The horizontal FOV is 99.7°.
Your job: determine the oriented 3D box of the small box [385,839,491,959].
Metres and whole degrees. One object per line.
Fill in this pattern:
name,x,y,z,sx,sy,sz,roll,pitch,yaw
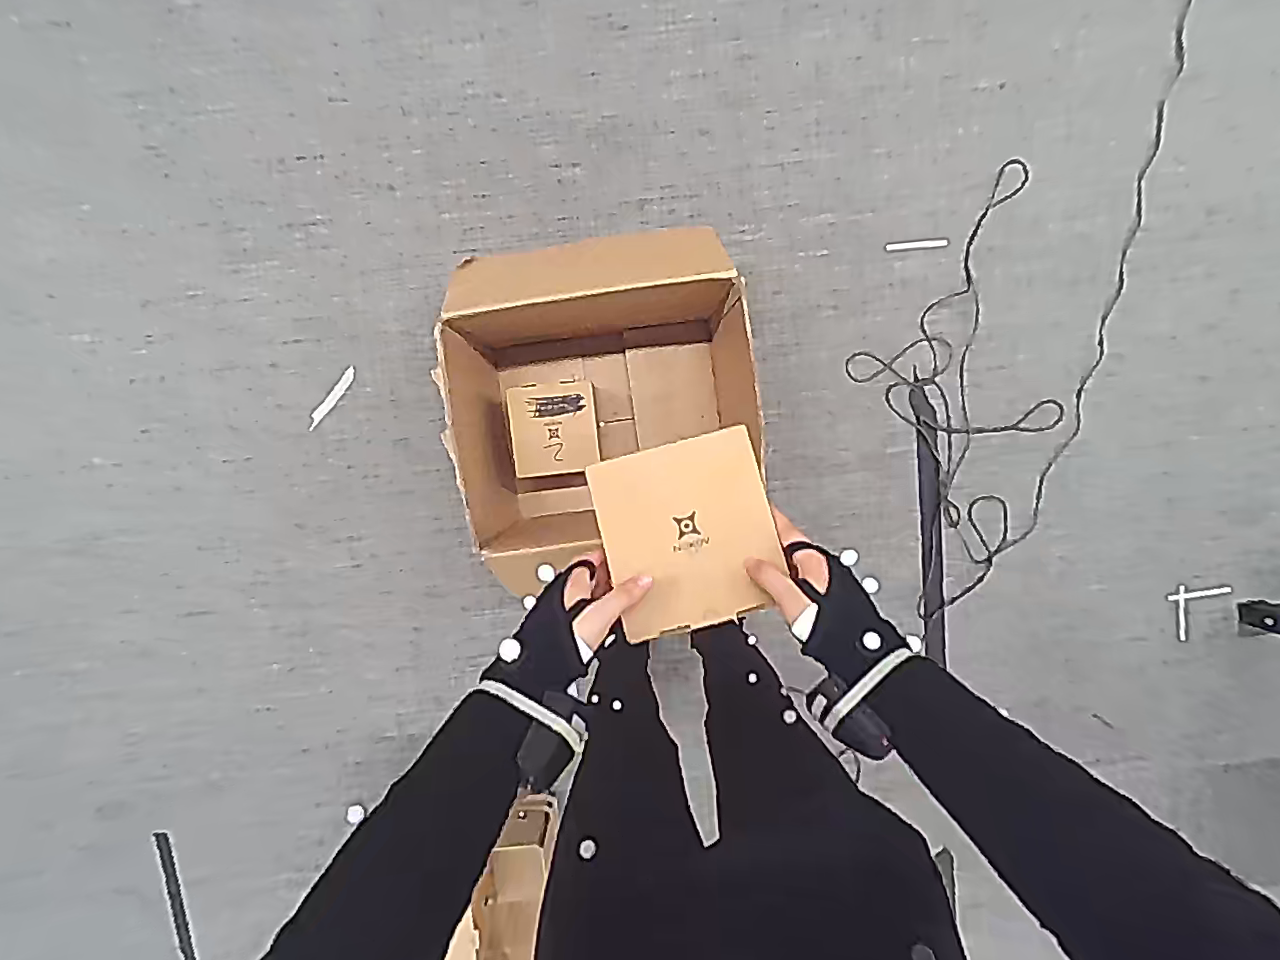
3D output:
small box,-0.423,0.909,1.163,0.179,0.176,0.168,-2,96,-4

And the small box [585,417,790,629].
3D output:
small box,0.044,0.049,0.600,0.168,0.176,0.179,-15,83,0
